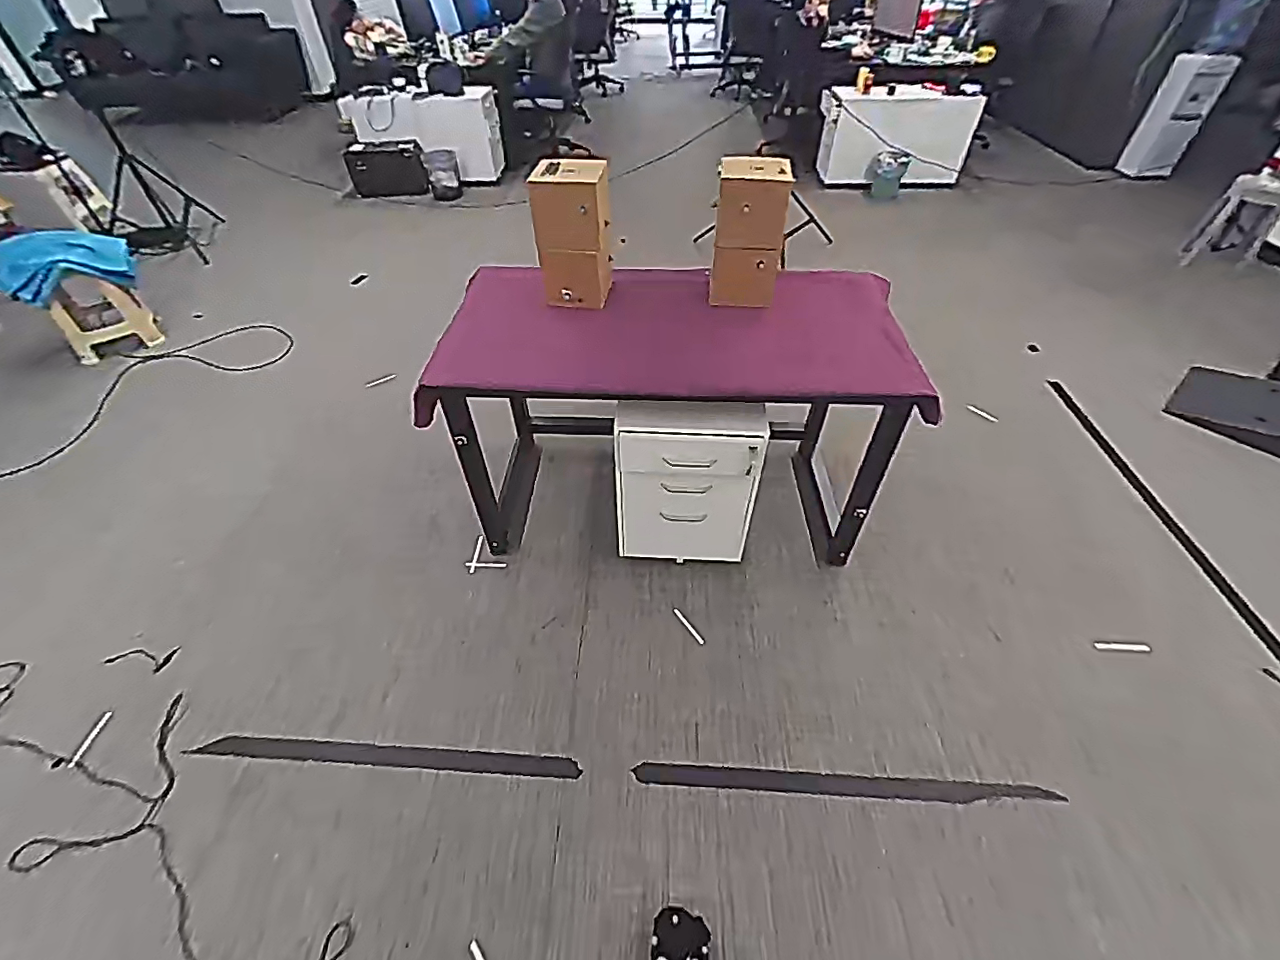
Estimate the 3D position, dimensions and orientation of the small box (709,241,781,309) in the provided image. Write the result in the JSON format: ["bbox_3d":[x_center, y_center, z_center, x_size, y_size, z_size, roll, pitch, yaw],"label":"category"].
[{"bbox_3d":[0.290,-0.598,1.525,0.179,0.176,0.168,4,46,5],"label":"small box"}]

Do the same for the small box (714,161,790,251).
[{"bbox_3d":[0.287,-0.713,1.408,0.179,0.176,0.168,4,47,6],"label":"small box"}]

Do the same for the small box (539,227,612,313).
[{"bbox_3d":[-0.175,-0.595,1.531,0.168,0.176,0.179,5,48,7],"label":"small box"}]
